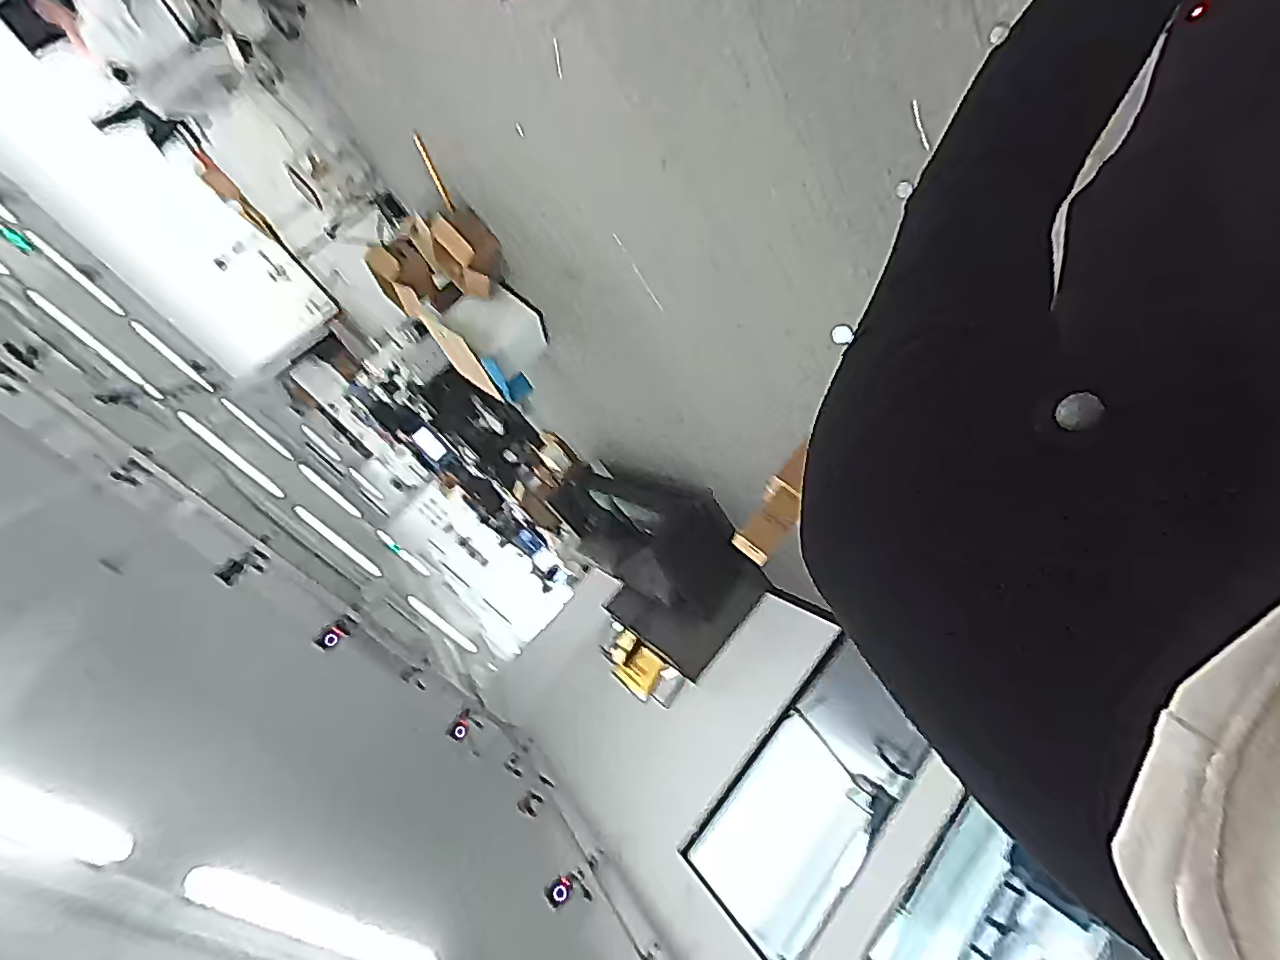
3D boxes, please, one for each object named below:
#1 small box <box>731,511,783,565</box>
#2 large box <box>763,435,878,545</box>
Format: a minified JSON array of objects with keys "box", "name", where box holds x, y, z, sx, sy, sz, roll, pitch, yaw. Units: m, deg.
[{"box":[0.556,0.275,2.572,0.168,0.176,0.179,40,164,15],"name":"small box"},{"box":[0.886,0.051,2.700,0.408,0.320,0.320,38,164,16],"name":"large box"}]
